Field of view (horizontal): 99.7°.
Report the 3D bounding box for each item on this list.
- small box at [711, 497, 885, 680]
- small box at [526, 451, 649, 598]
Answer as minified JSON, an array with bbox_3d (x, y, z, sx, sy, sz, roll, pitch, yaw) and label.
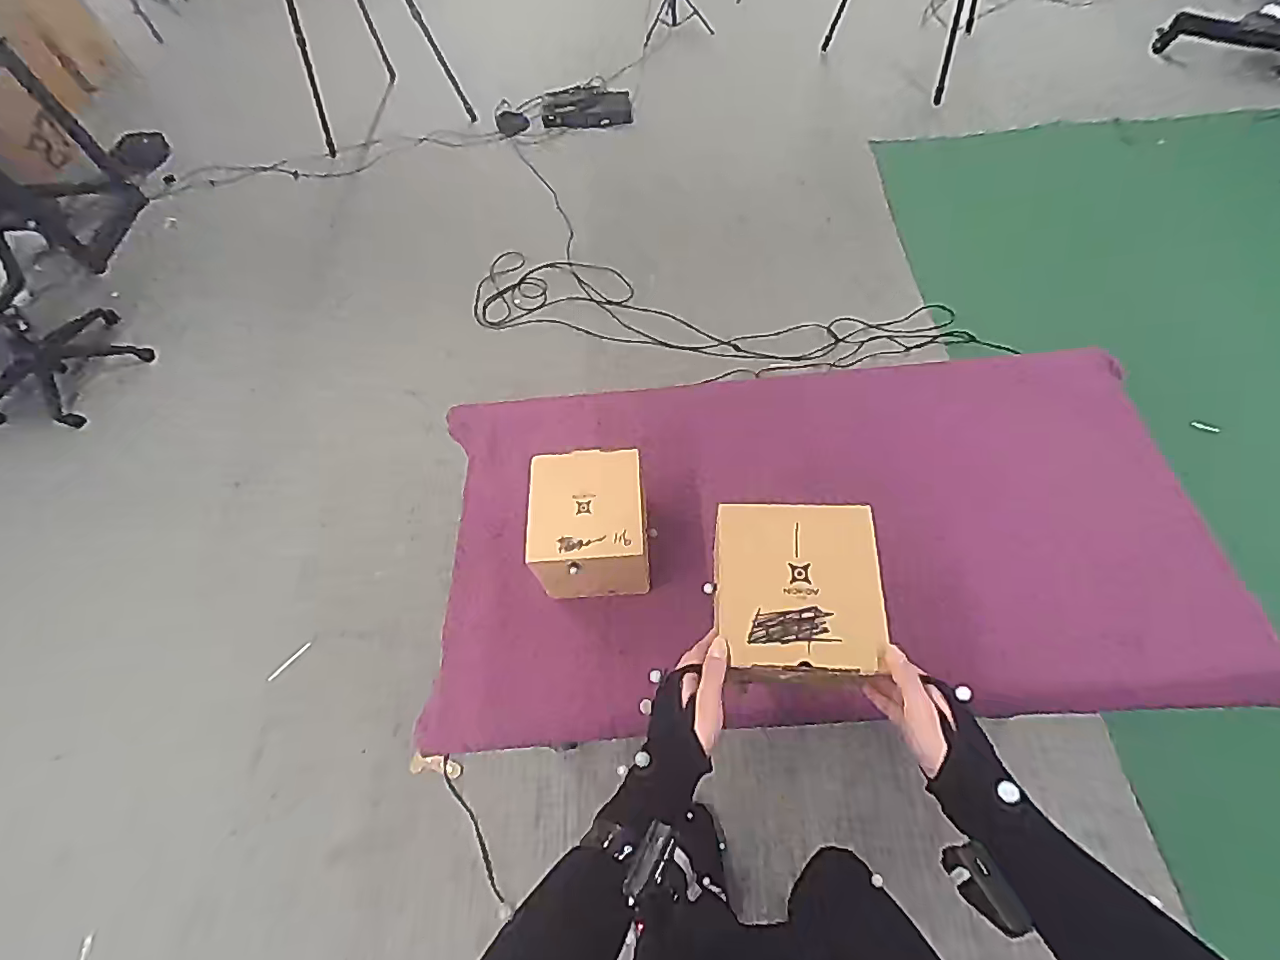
[{"bbox_3d":[0.170,0.134,0.635,0.168,0.176,0.179,1,63,6],"label":"small box"},{"bbox_3d":[-0.074,0.073,0.852,0.168,0.176,0.179,-3,60,3],"label":"small box"}]
